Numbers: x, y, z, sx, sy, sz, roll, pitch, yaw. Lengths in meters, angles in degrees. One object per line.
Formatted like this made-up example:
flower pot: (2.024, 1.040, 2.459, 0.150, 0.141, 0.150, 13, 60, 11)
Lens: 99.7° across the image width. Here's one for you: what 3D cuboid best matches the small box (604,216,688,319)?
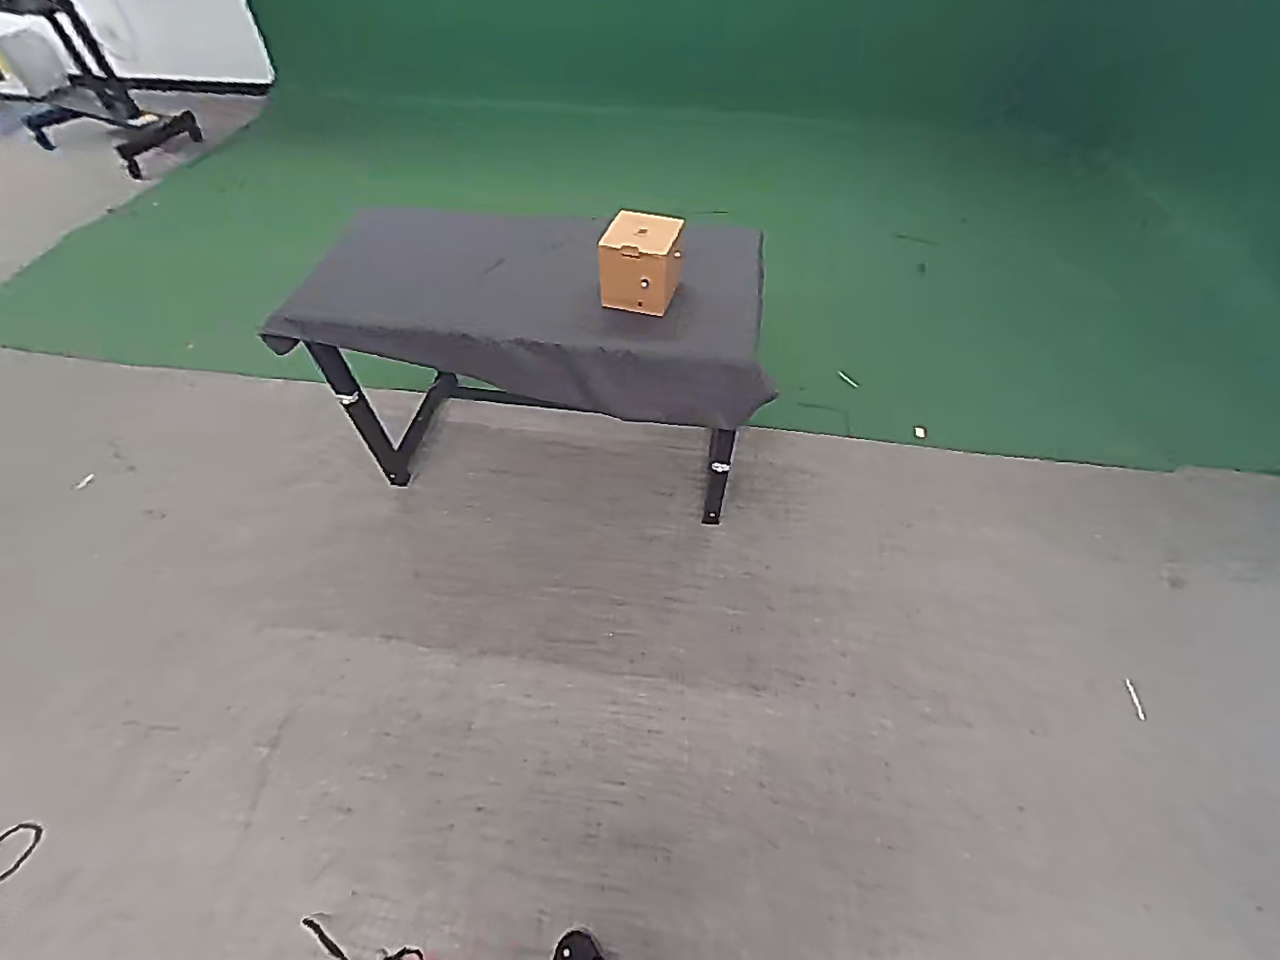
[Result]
small box: (0.016, -0.534, 1.366, 0.168, 0.176, 0.179, 15, 52, 9)
